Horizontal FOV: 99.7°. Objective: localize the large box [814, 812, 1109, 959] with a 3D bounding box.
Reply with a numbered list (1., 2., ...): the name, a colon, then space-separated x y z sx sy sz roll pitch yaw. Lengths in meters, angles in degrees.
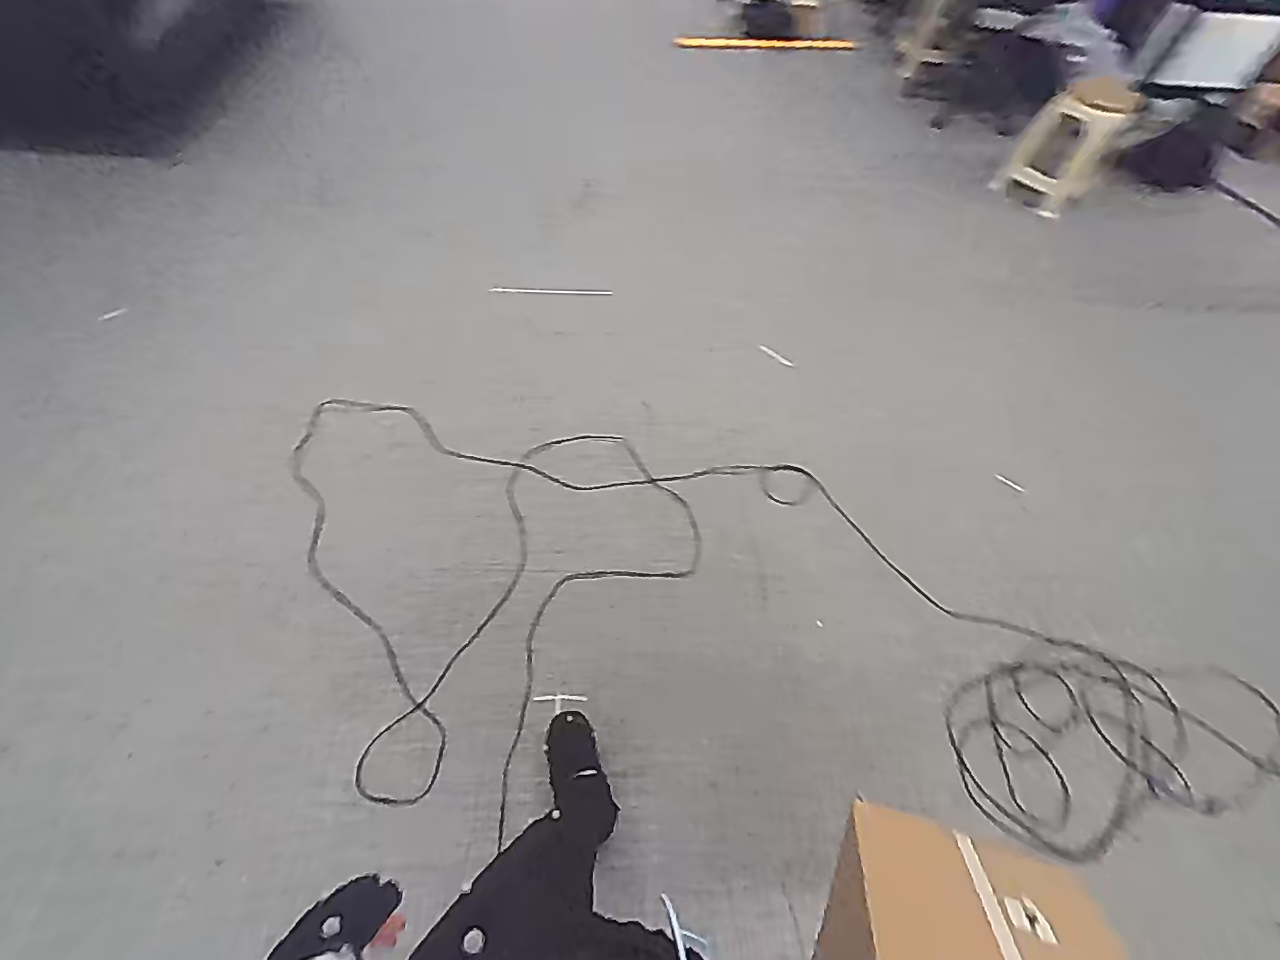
1. large box: 0.400 0.722 0.660 0.320 0.408 0.320 14 96 16
